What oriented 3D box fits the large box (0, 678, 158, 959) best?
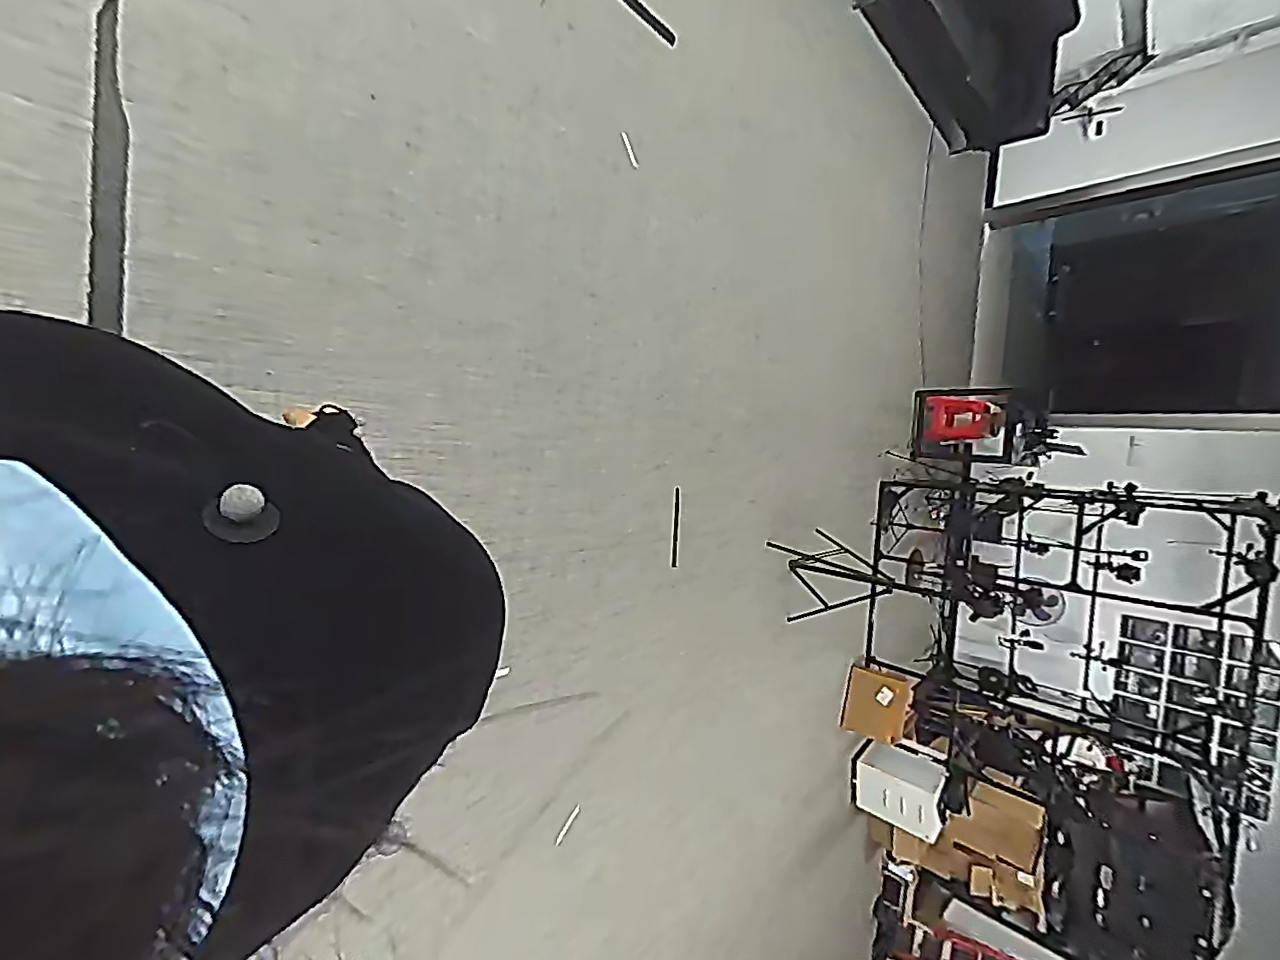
[{"bbox_3d":[-0.990,0.536,0.794,0.408,0.320,0.320,0,93,-47],"label":"large box"}]
